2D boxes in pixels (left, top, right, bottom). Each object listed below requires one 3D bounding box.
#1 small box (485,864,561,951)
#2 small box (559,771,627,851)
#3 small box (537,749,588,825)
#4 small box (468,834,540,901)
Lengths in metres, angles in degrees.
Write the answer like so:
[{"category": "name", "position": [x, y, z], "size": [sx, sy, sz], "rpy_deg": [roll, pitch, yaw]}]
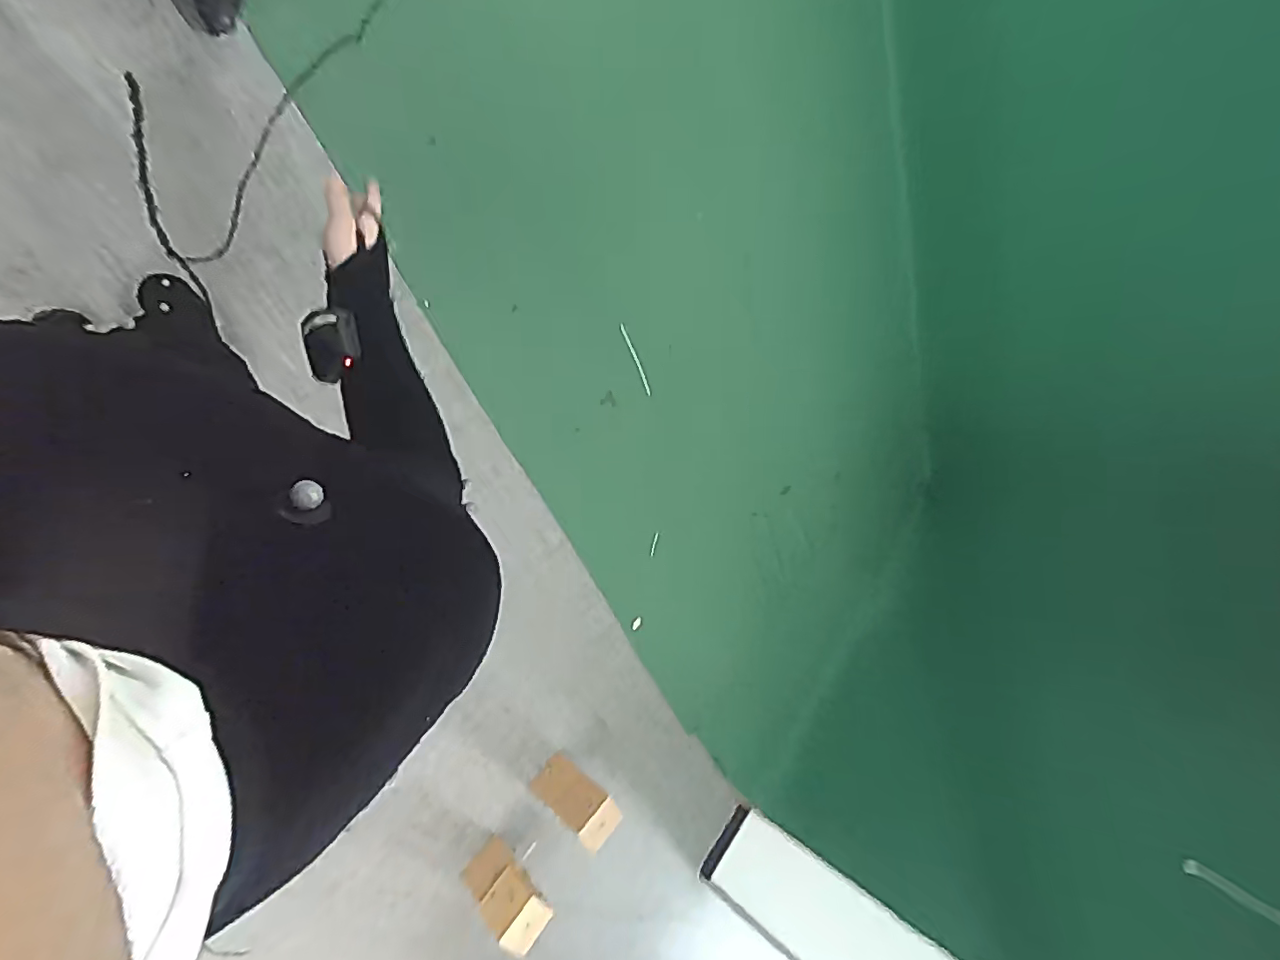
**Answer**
[{"category": "small box", "position": [-0.428, 1.542, 1.959], "size": [0.168, 0.176, 0.179], "rpy_deg": [-47, 128, -25]}, {"category": "small box", "position": [-0.185, 1.289, 2.120], "size": [0.179, 0.176, 0.168], "rpy_deg": [-40, 125, -28]}, {"category": "small box", "position": [-0.302, 1.263, 2.235], "size": [0.179, 0.176, 0.168], "rpy_deg": [-41, 126, -28]}, {"category": "small box", "position": [-0.528, 1.521, 2.086], "size": [0.179, 0.176, 0.168], "rpy_deg": [-42, 126, -26]}]
